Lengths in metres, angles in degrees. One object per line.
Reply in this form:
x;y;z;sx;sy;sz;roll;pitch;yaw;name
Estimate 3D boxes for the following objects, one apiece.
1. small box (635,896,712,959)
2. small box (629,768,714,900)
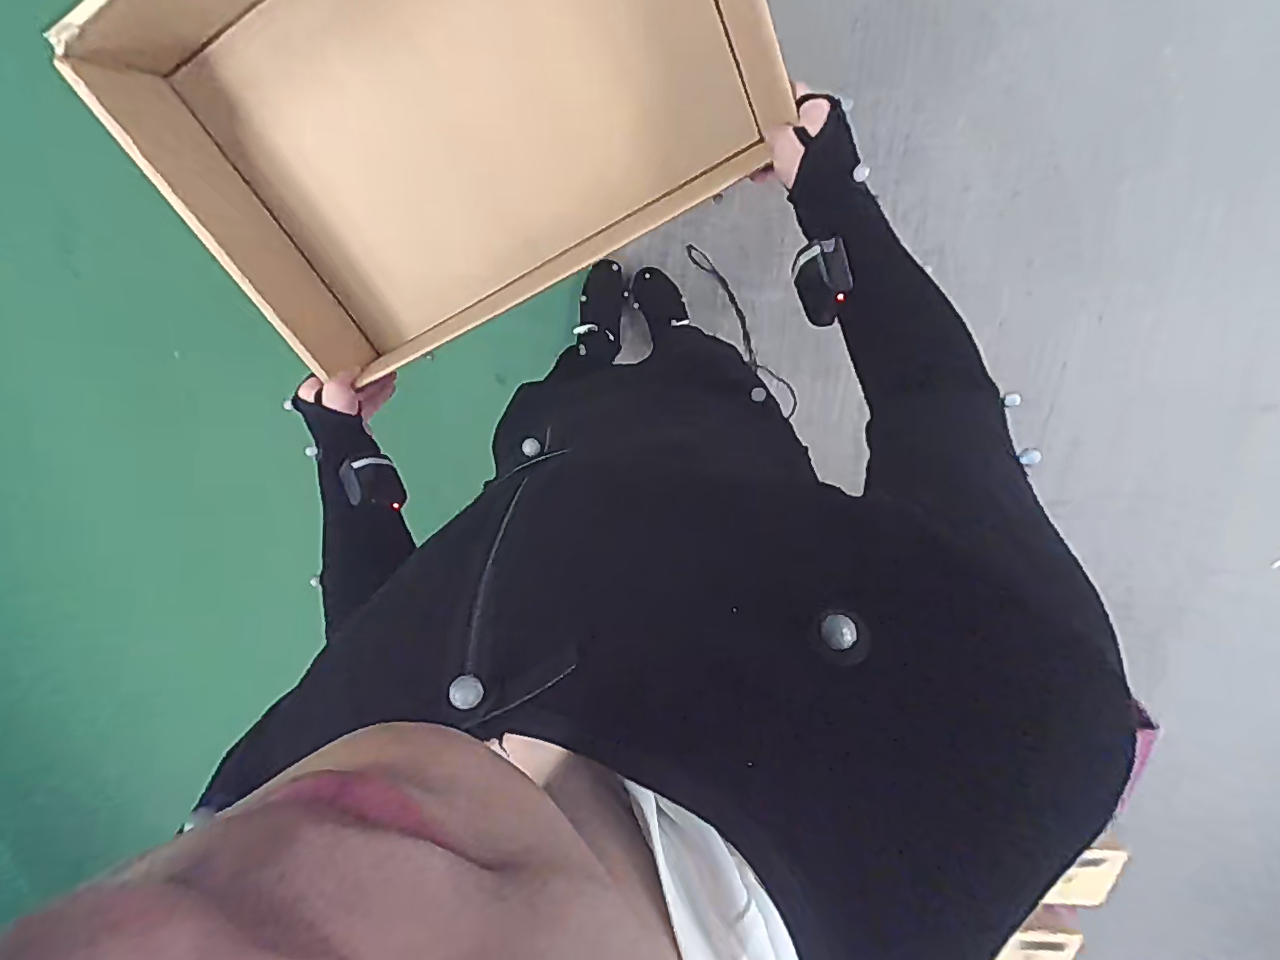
0.075;1.005;1.254;0.168;0.176;0.179;0;113;1;small box
0.064;0.742;1.139;0.168;0.176;0.179;0;116;2;small box
